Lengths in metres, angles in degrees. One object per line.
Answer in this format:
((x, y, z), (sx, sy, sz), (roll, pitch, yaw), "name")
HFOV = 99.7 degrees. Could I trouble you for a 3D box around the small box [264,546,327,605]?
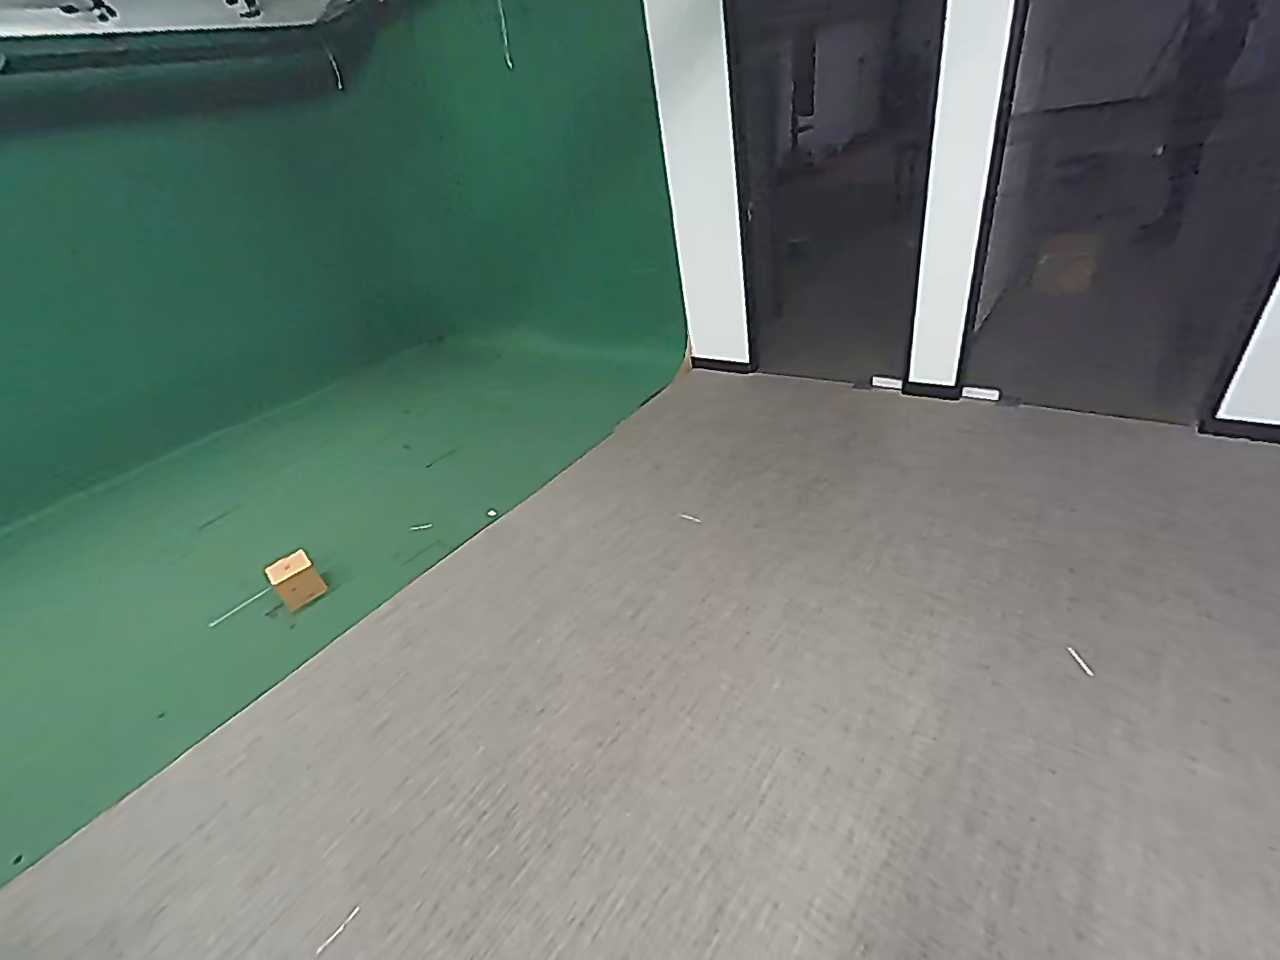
((-1.559, 0.439, 2.452), (0.168, 0.176, 0.179), (-34, 40, -30), "small box")
